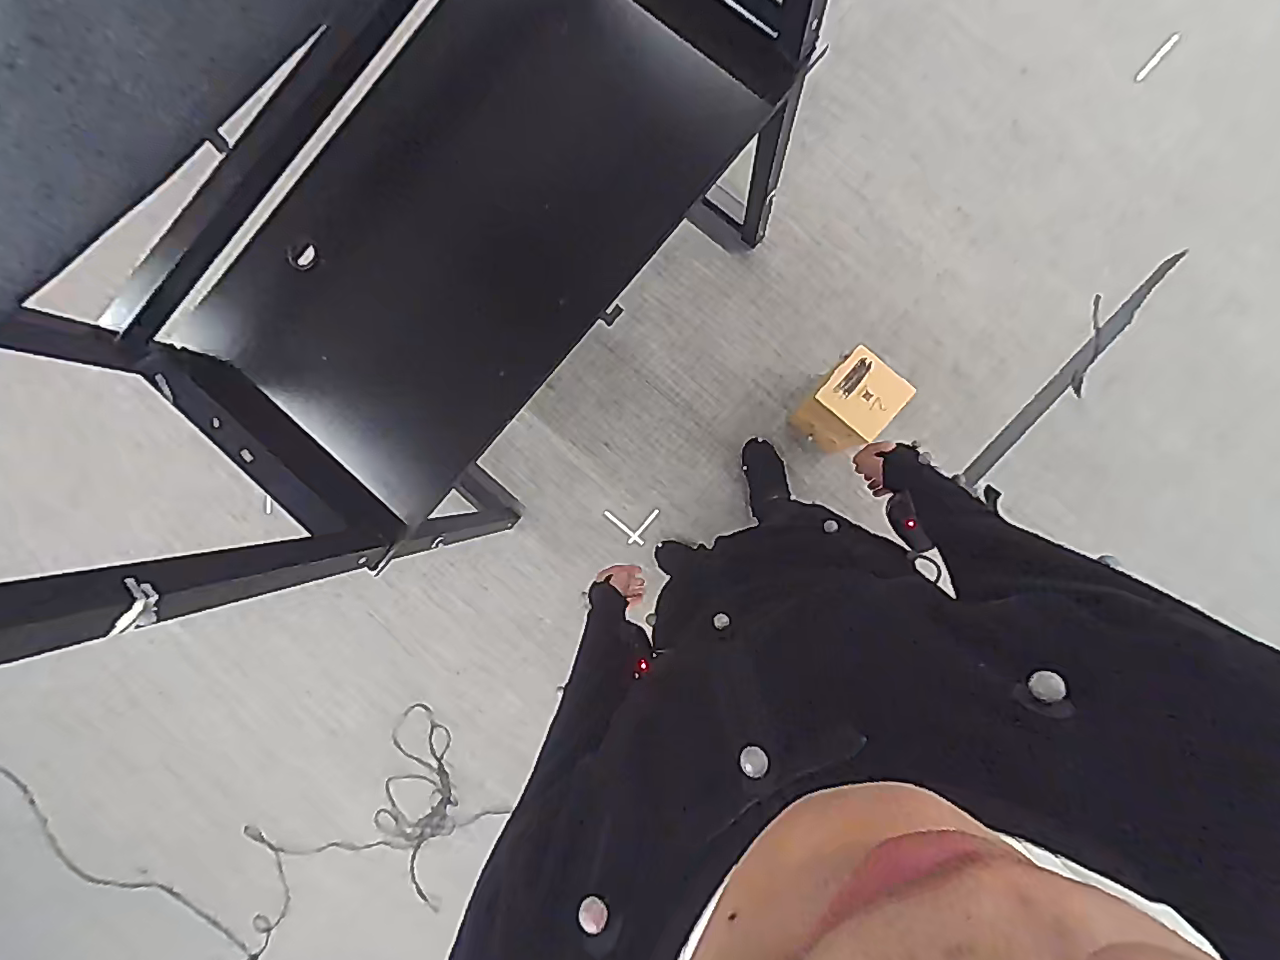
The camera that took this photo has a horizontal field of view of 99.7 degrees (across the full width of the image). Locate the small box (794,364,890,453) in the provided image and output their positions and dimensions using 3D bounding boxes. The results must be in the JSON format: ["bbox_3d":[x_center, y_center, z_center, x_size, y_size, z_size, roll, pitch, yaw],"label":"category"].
[{"bbox_3d":[0.554,-0.193,1.515,0.168,0.176,0.179,39,94,5],"label":"small box"}]
